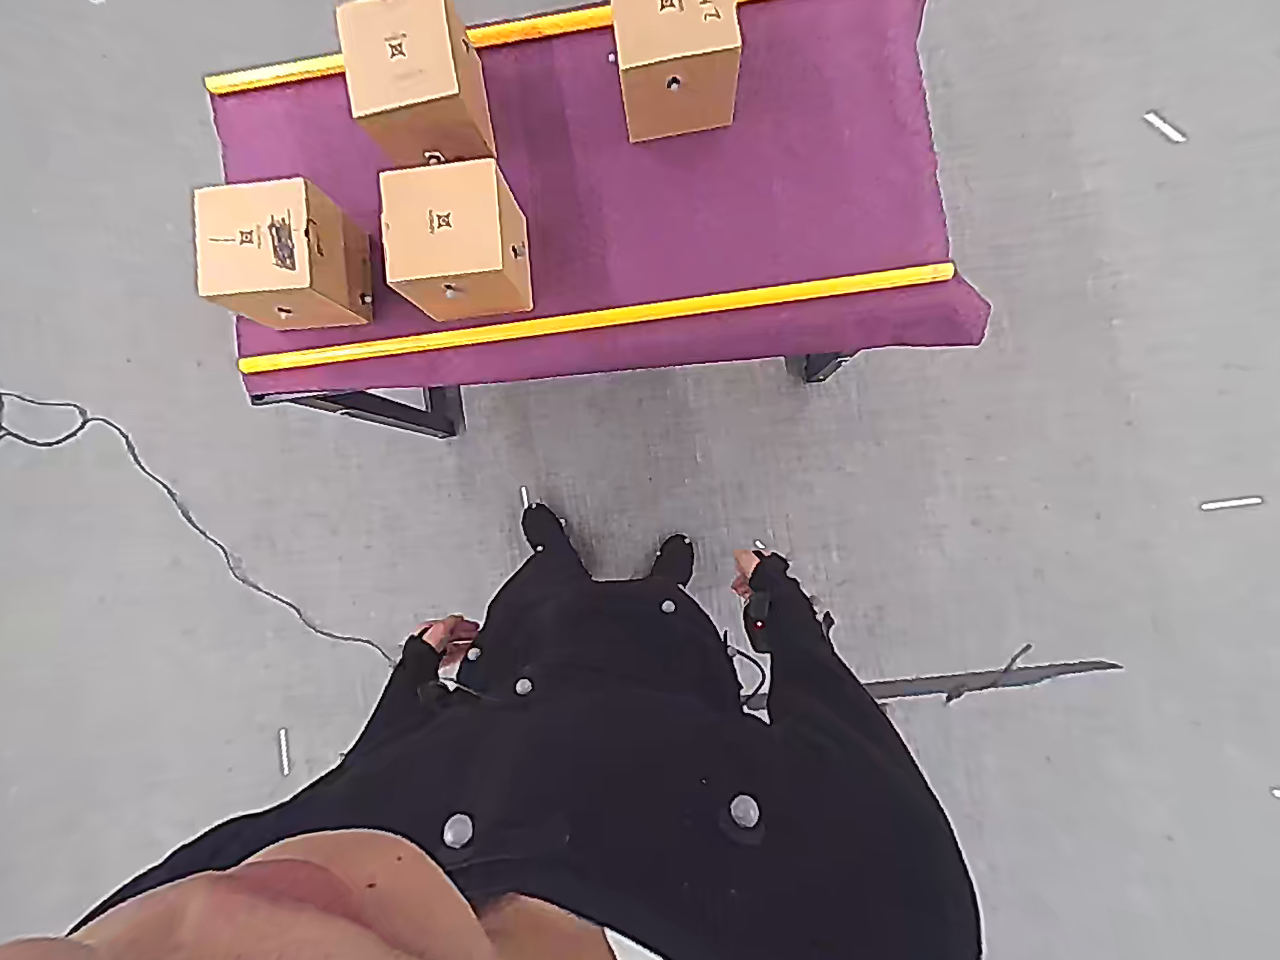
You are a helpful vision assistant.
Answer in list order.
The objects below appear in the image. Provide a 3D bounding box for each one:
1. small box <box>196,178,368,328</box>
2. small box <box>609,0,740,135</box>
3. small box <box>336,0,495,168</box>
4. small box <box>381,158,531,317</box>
[{"bbox_3d":[-0.559,-0.353,0.869,0.179,0.176,0.168,-3,88,4],"label":"small box"},{"bbox_3d":[0.052,-0.670,0.835,0.179,0.176,0.168,-7,89,4],"label":"small box"},{"bbox_3d":[-0.347,-0.631,0.864,0.168,0.176,0.179,-10,89,5],"label":"small box"},{"bbox_3d":[-0.277,-0.370,0.852,0.179,0.176,0.168,-5,88,5],"label":"small box"}]
